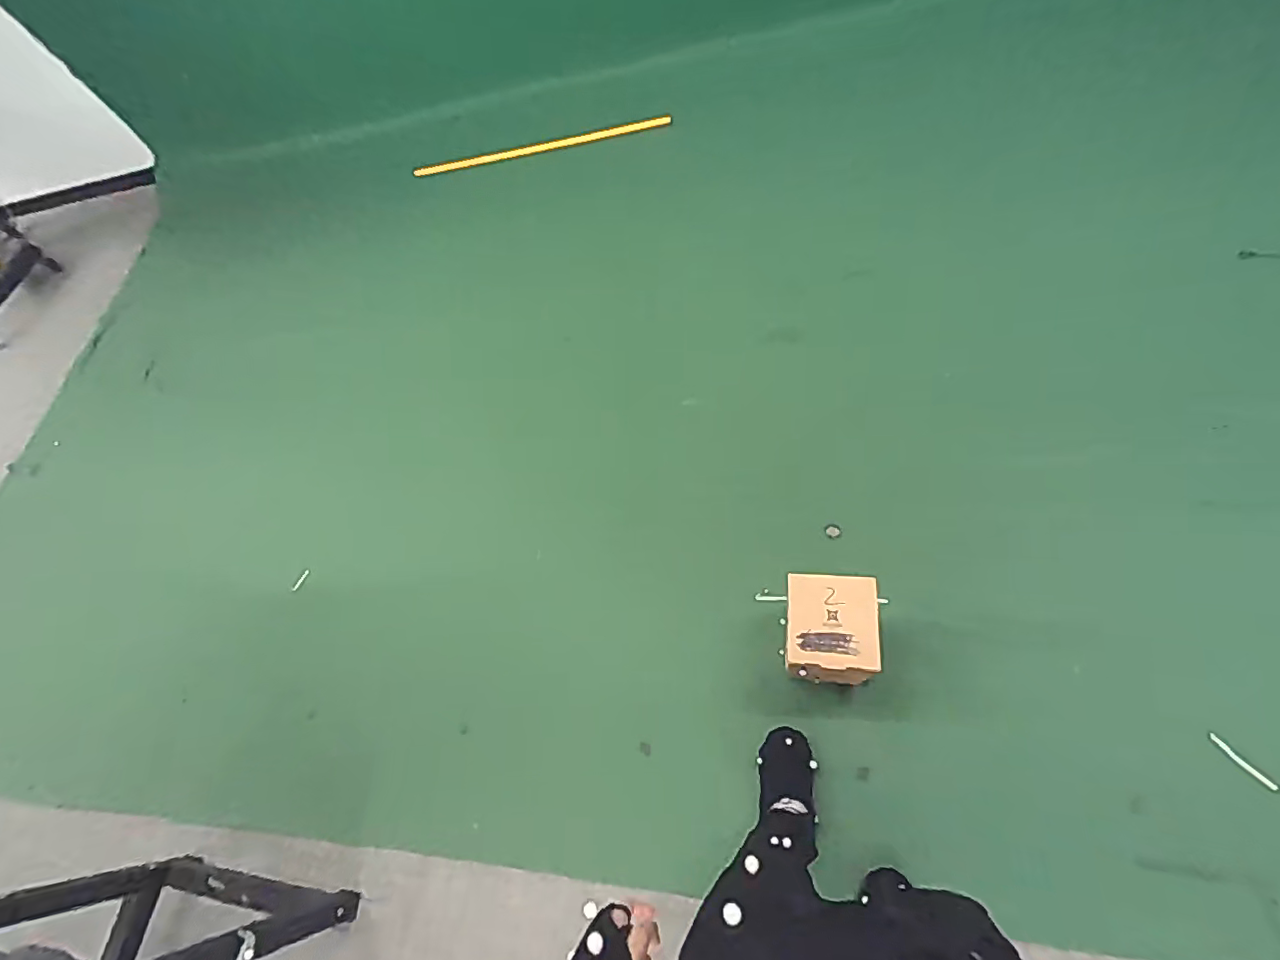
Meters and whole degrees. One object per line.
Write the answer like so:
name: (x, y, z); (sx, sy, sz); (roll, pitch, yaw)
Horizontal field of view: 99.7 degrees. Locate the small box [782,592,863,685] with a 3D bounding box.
small box: (0.416, 0.370, 1.251); (0.168, 0.176, 0.179); (1, 67, 15)
